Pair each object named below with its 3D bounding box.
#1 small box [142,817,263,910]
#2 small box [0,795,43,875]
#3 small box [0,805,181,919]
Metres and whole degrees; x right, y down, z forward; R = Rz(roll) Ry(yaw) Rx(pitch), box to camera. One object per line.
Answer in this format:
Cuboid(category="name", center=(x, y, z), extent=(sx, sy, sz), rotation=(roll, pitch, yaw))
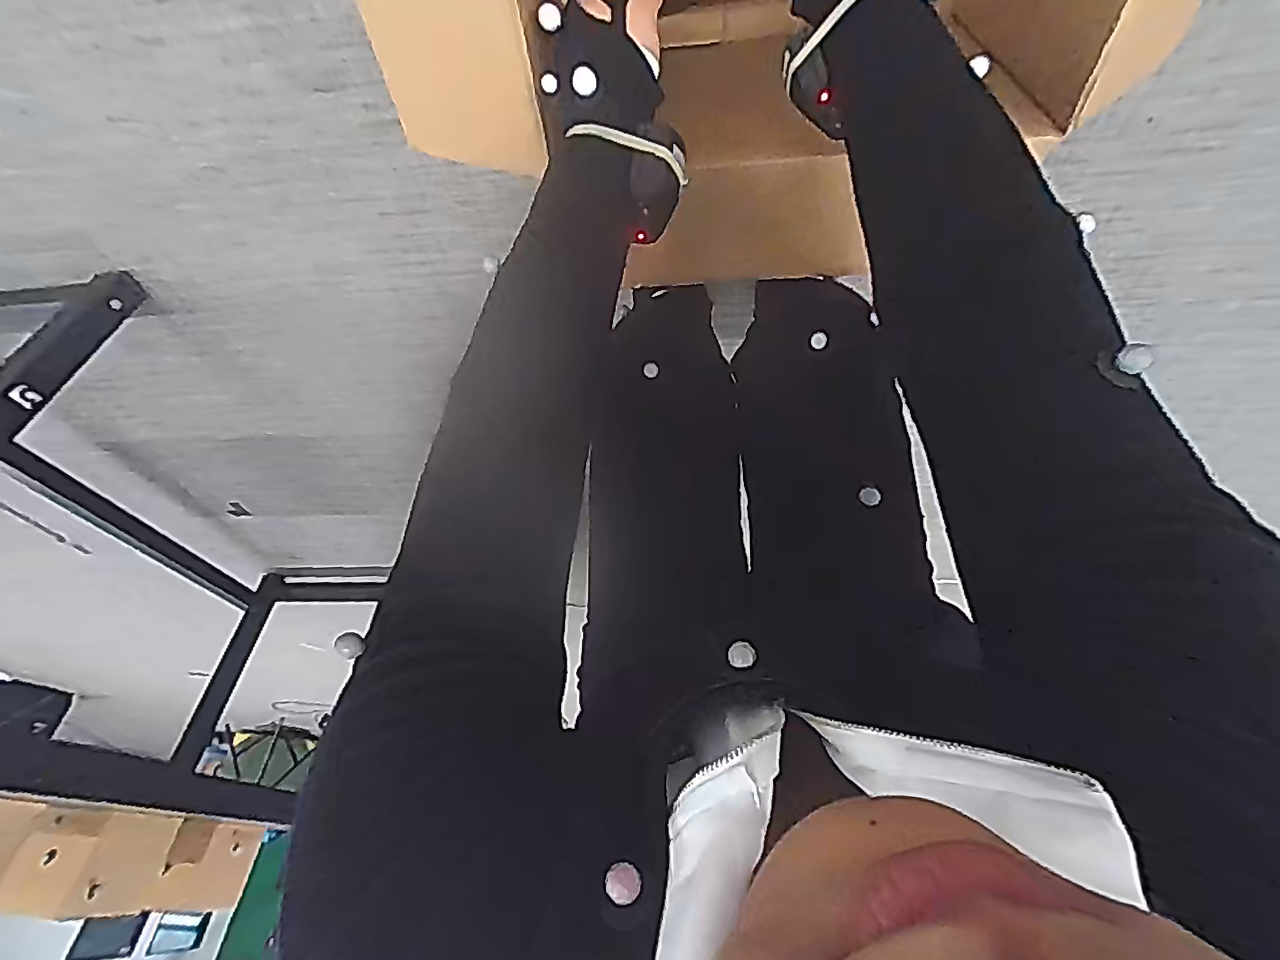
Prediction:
Cuboid(category="small box", center=(-1.049, 0.903, 1.277), extent=(0.179, 0.176, 0.168), rotation=(-3, 144, 8))
Cuboid(category="small box", center=(-1.111, 0.573, 0.829), extent=(0.168, 0.176, 0.179), rotation=(0, 145, 5))
Cuboid(category="small box", center=(-1.079, 0.747, 1.063), extent=(0.168, 0.176, 0.179), rotation=(-1, 144, 7))
